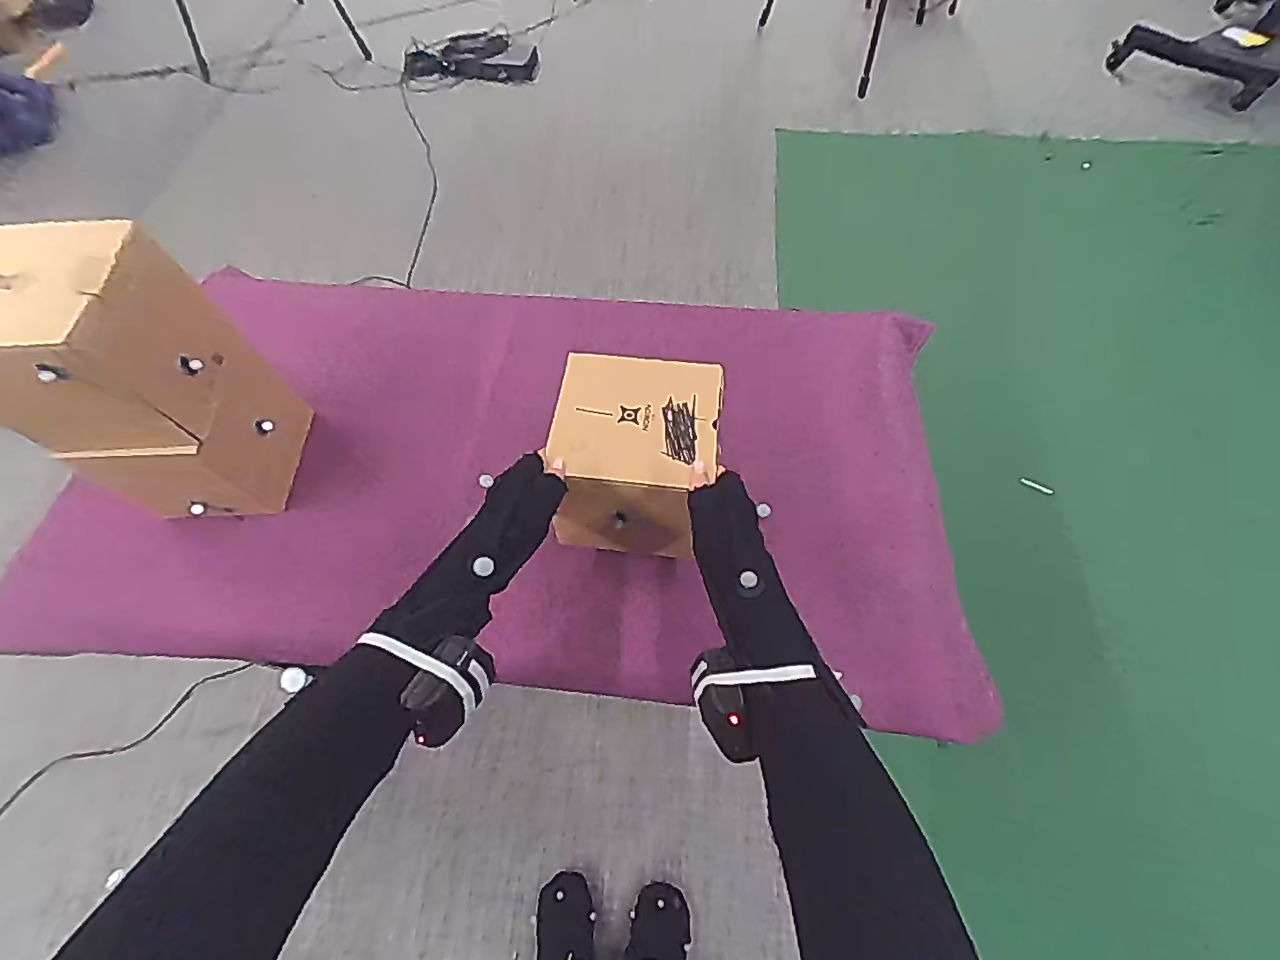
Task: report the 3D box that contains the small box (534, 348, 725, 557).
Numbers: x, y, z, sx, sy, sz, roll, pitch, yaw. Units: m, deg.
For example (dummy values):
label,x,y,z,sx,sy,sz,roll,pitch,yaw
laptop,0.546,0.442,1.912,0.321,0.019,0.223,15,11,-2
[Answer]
label,x,y,z,sx,sy,sz,roll,pitch,yaw
small box,-0.006,-0.025,0.629,0.179,0.176,0.168,9,57,5

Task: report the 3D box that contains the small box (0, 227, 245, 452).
label,x,y,z,sx,sy,sz,roll,pitch,yaw
small box,-0.584,-0.141,0.580,0.179,0.176,0.168,-3,62,-1
